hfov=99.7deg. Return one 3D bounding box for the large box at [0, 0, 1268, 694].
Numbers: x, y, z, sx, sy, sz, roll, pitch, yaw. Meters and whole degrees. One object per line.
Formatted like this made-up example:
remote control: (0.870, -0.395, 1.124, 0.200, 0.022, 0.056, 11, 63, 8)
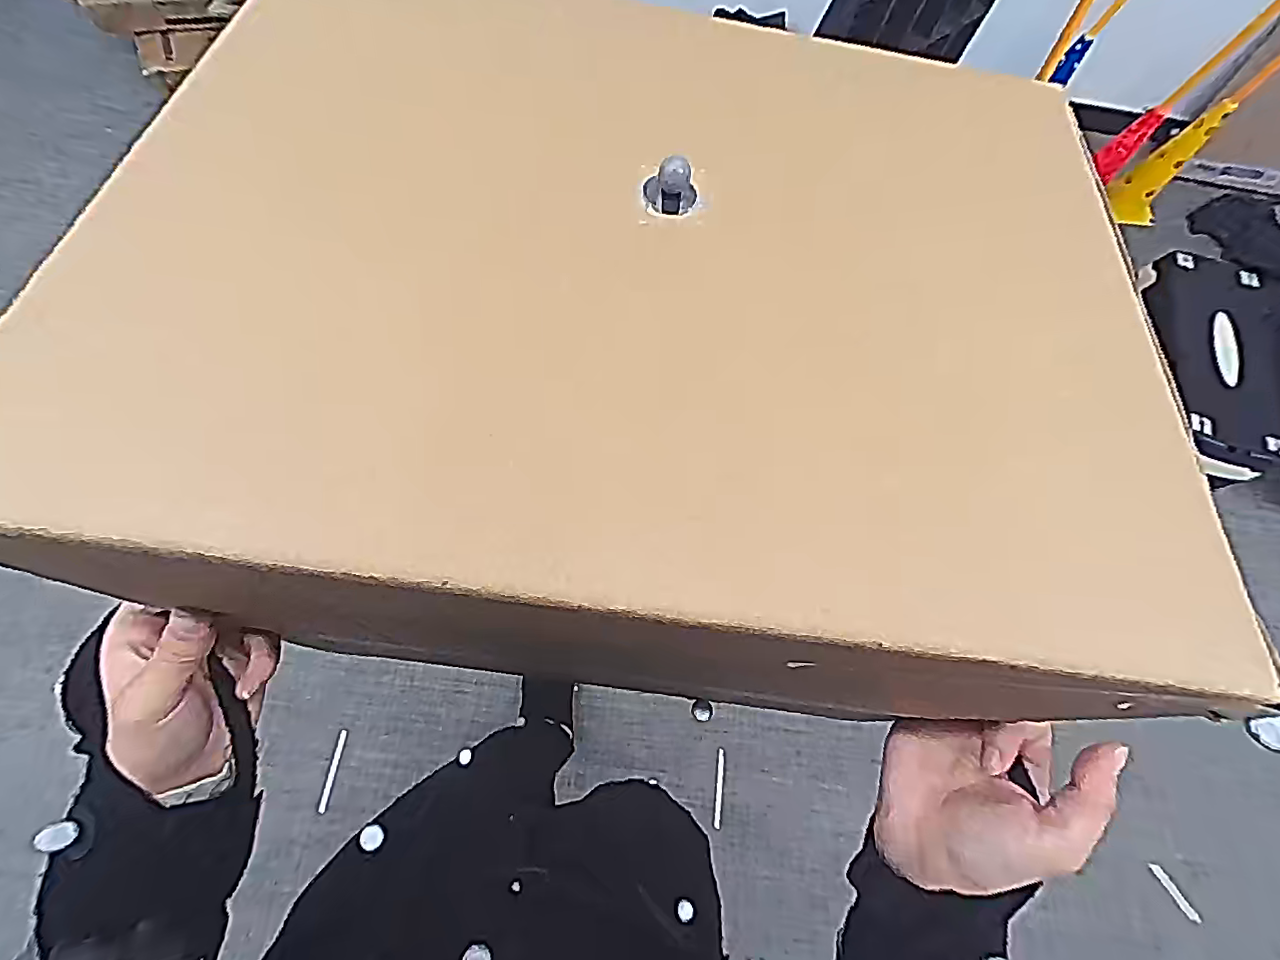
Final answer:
large box: (-0.007, -0.055, 0.351, 0.408, 0.320, 0.320, 8, 67, -2)
